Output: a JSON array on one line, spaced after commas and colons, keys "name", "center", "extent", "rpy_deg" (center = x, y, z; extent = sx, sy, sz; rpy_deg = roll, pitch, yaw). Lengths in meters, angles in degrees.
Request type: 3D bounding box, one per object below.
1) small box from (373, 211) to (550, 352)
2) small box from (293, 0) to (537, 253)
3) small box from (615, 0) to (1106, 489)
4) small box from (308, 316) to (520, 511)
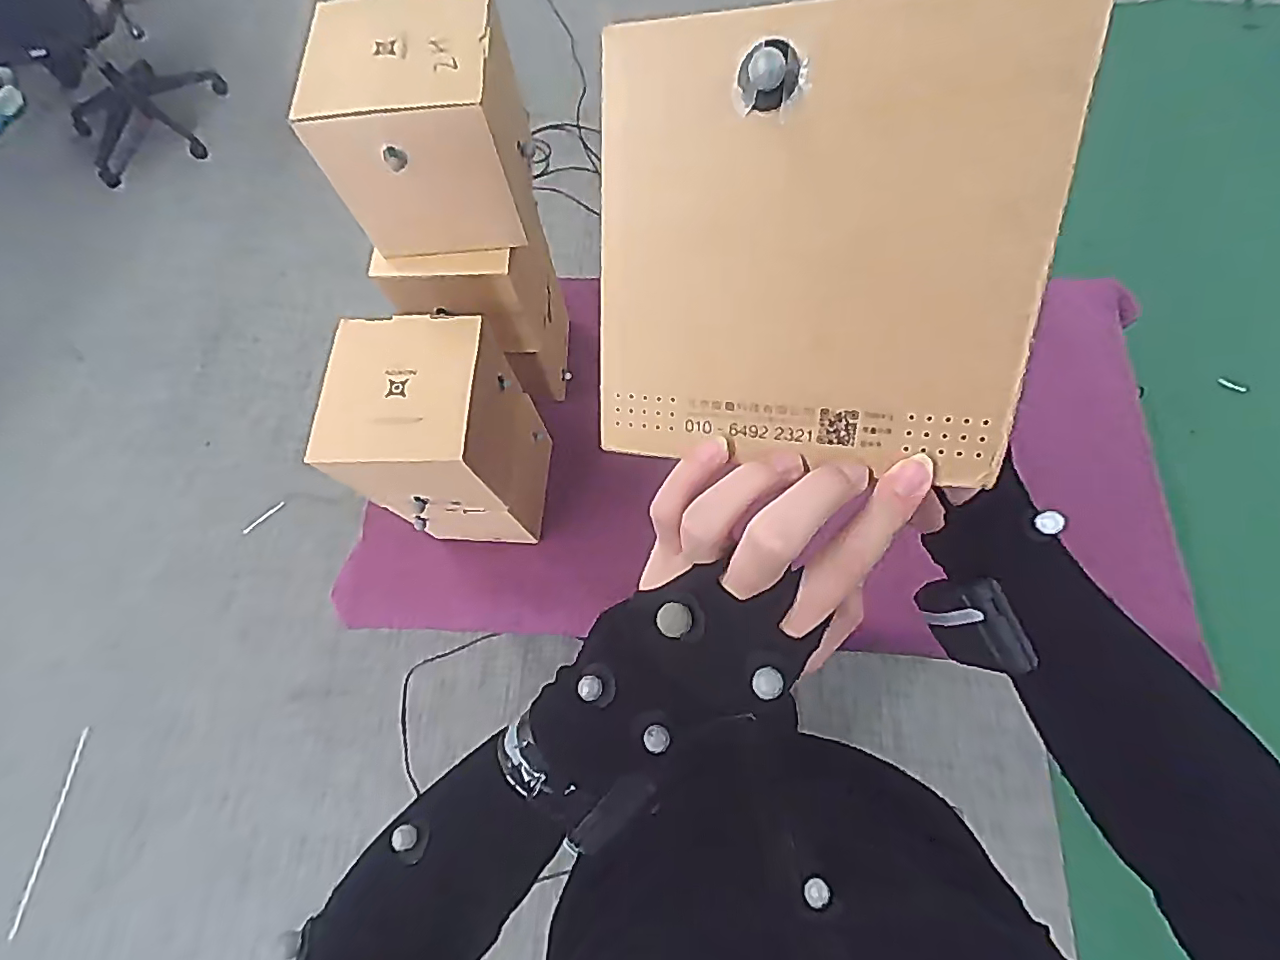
[{"name": "small box", "center": [-0.222, -0.286, 0.722], "extent": [0.168, 0.176, 0.179], "rpy_deg": [0, 70, 3]}, {"name": "small box", "center": [-0.218, -0.365, 0.575], "extent": [0.179, 0.176, 0.168], "rpy_deg": [-3, 70, 2]}, {"name": "small box", "center": [0.088, -0.105, 0.286], "extent": [0.168, 0.179, 0.176], "rpy_deg": [7, 108, 17]}, {"name": "small box", "center": [-0.249, -0.073, 0.645], "extent": [0.168, 0.176, 0.179], "rpy_deg": [0, 70, 4]}]
